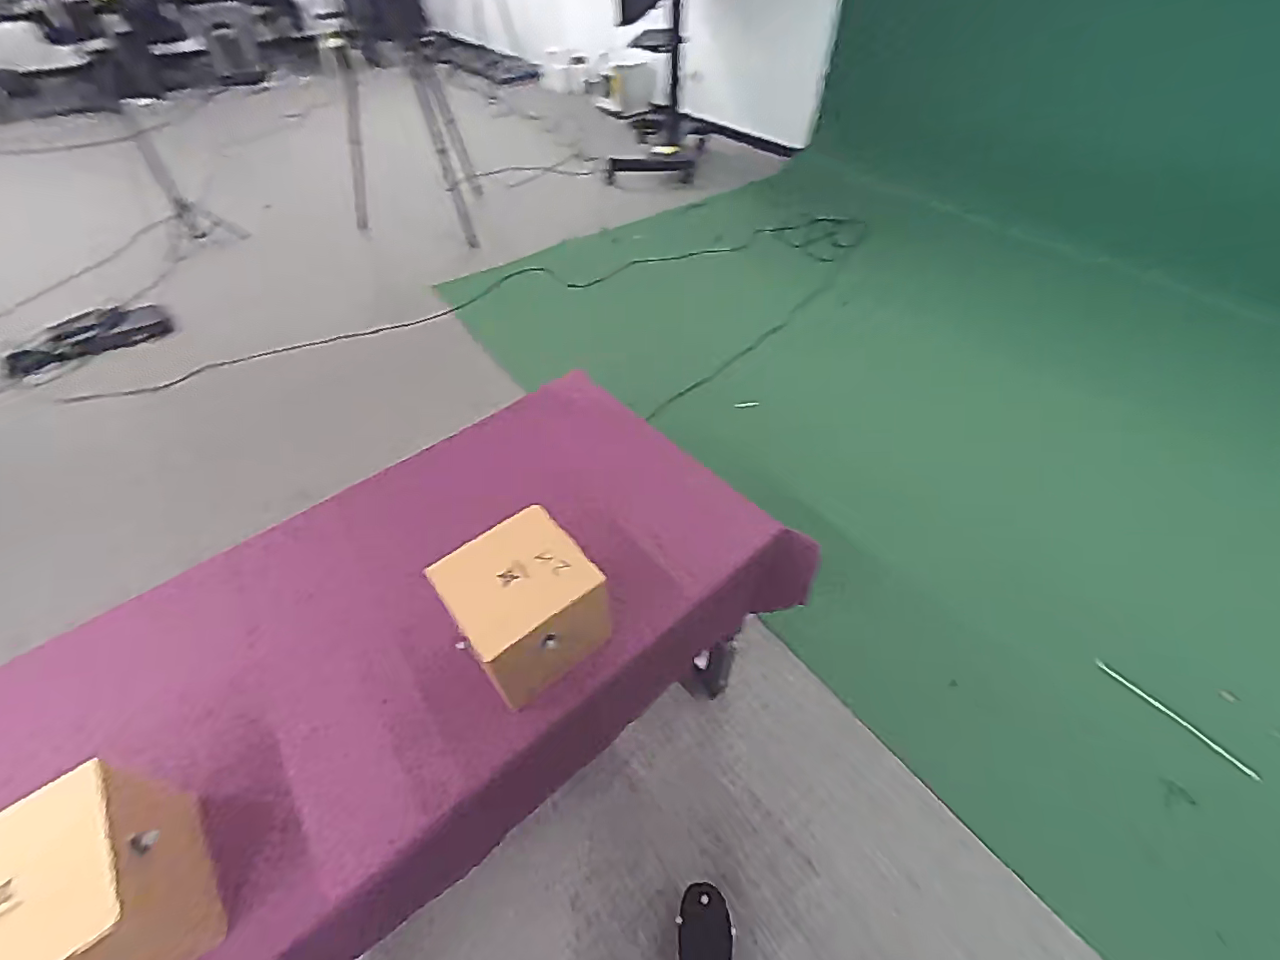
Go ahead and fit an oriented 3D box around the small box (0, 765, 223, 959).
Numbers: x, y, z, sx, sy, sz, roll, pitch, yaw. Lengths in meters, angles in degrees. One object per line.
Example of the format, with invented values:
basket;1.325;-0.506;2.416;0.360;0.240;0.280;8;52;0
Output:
small box;-0.562;0.430;0.532;0.168;0.176;0.179;-33;56;-26

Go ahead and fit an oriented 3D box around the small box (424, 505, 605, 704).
small box;-0.163;0.176;0.753;0.179;0.176;0.168;-32;56;-25
